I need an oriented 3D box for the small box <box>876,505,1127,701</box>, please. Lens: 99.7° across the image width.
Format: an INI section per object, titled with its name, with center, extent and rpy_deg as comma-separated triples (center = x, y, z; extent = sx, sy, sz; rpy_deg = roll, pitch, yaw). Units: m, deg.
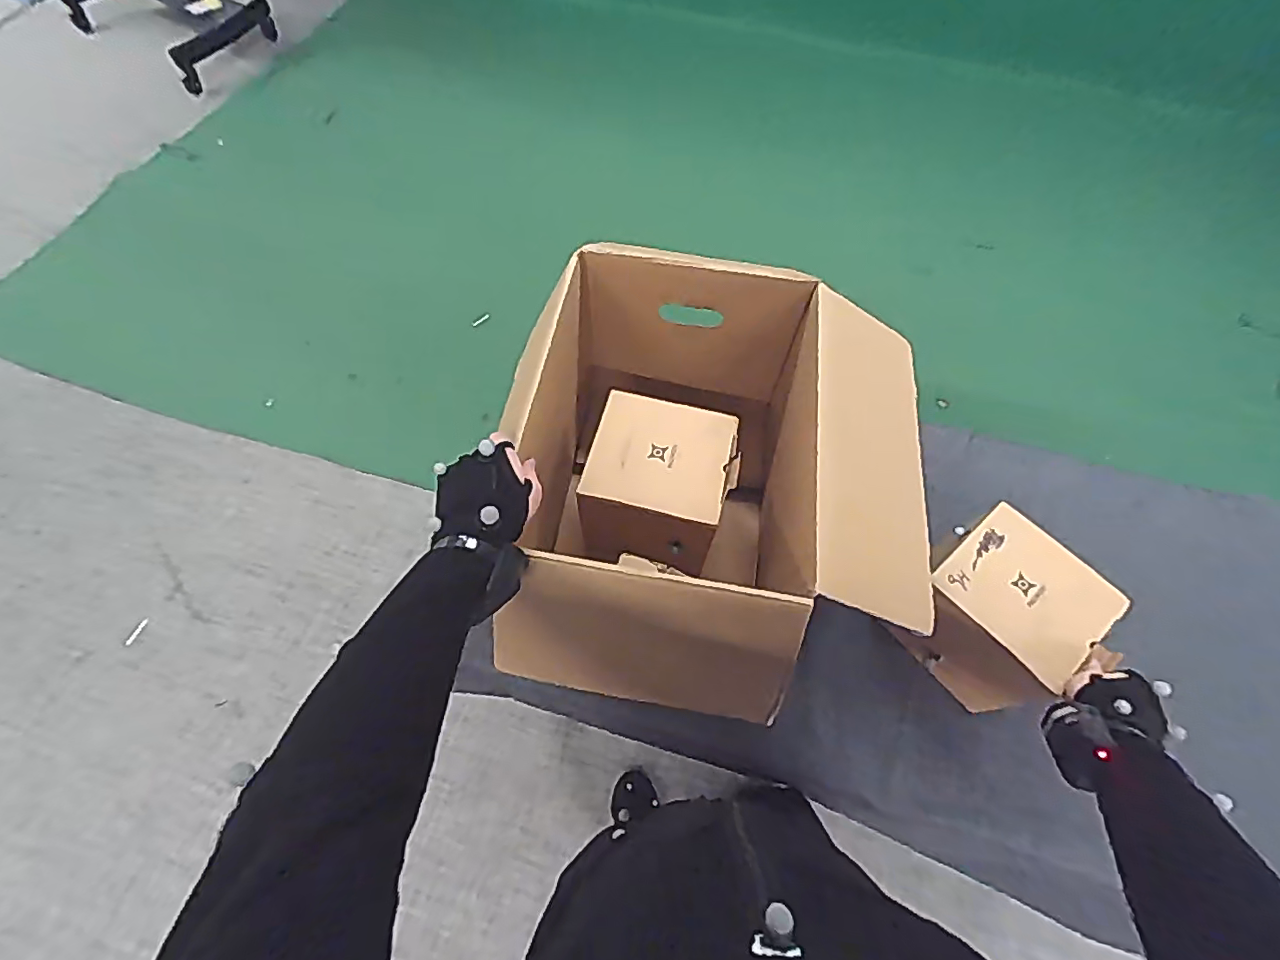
[small box]
center = 0.456, 0.169, 0.713
extent = 0.168, 0.176, 0.179
rpy_deg = -35, 69, -16
